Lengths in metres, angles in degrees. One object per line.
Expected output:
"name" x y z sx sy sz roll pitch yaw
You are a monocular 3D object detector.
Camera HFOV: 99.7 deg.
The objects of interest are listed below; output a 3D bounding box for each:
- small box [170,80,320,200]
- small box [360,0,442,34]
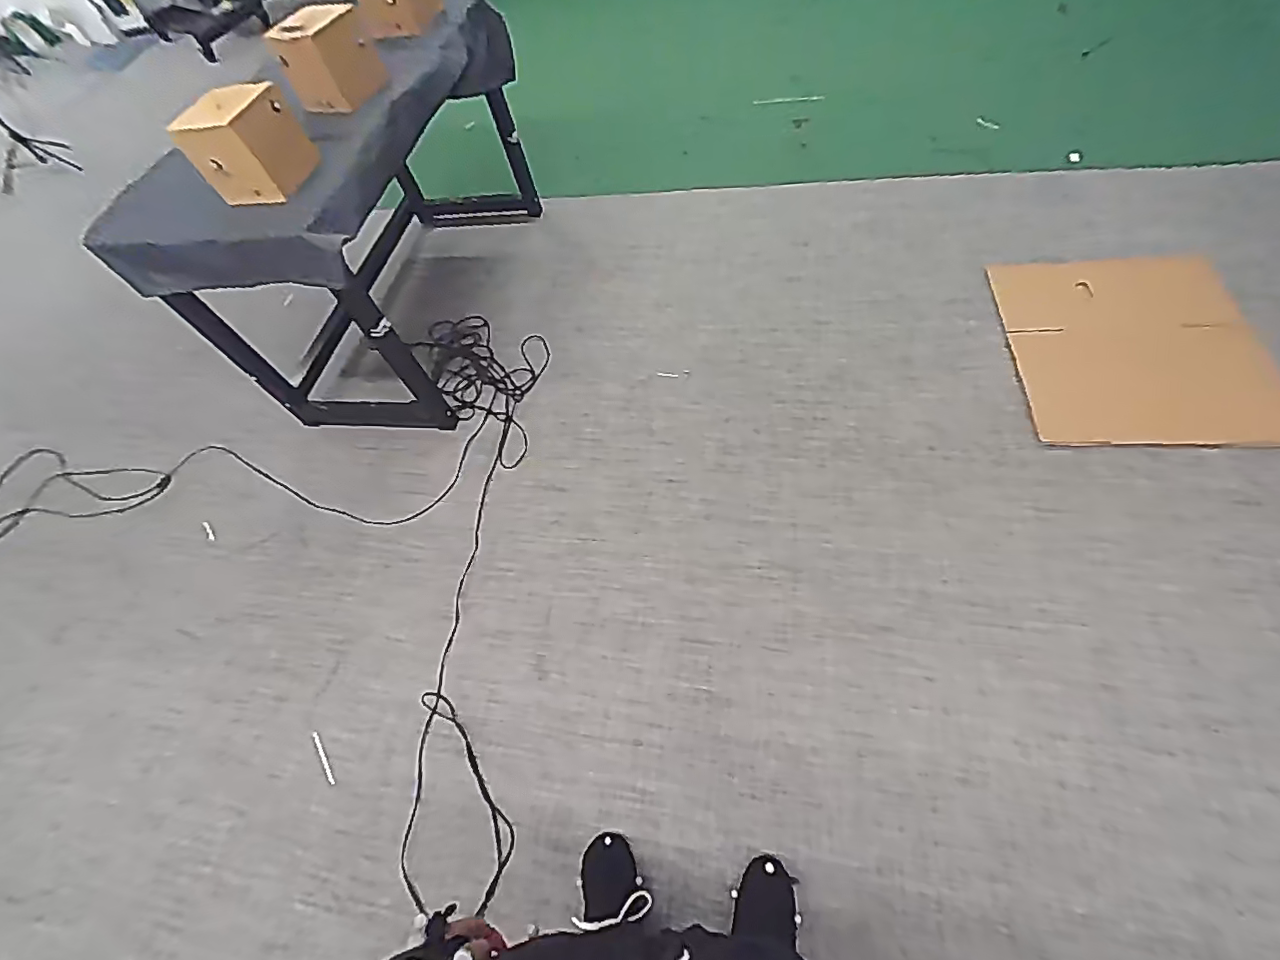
"small box" -0.858 -0.742 1.196 0.168 0.176 0.179 4 60 14
"small box" -0.714 -1.445 1.589 0.168 0.176 0.179 9 61 14
